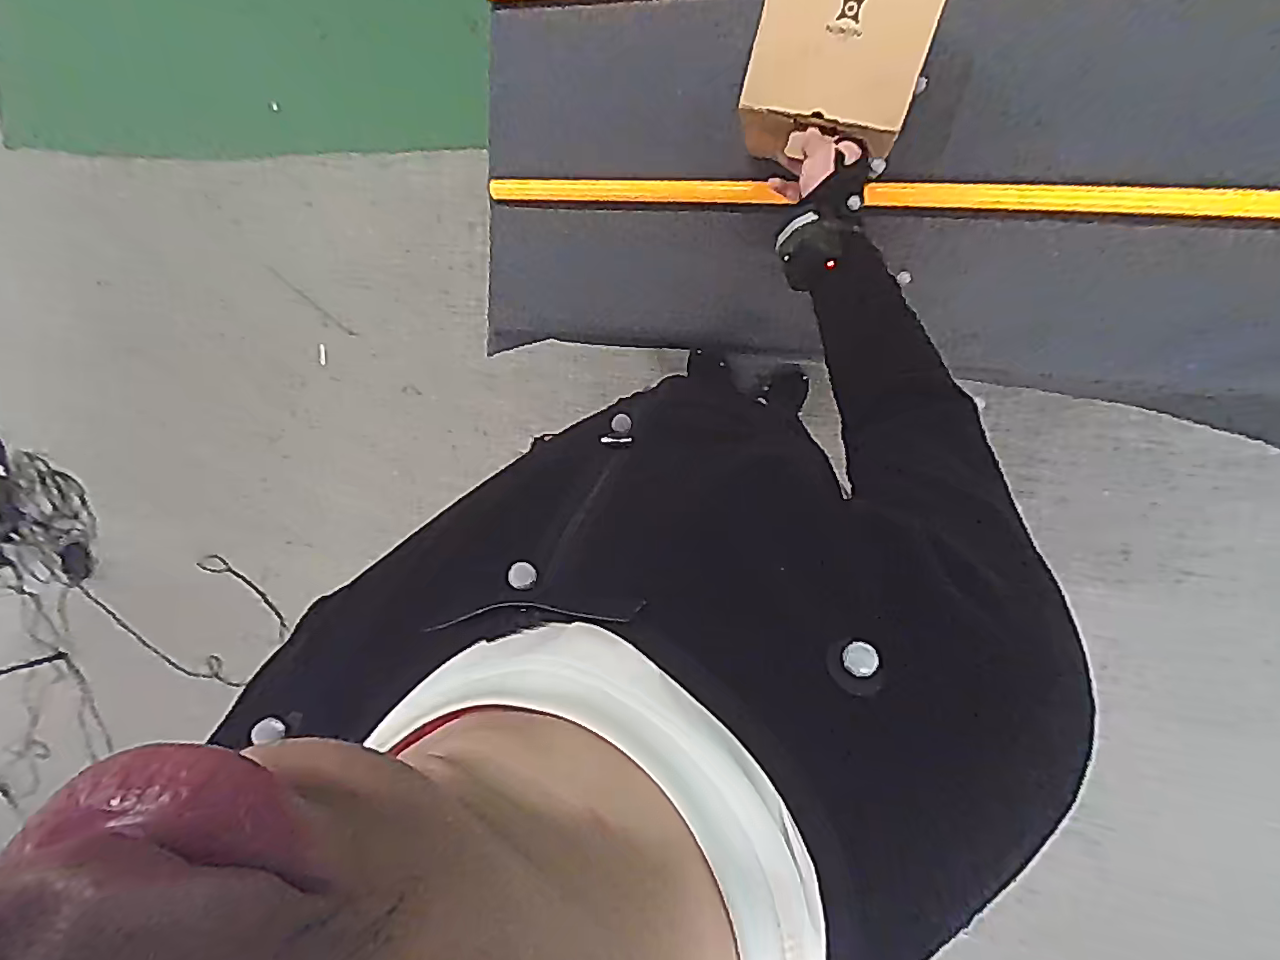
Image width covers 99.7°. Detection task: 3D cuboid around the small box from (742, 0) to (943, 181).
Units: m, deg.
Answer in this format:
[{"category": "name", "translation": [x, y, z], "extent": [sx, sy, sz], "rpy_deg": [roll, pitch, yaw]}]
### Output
[{"category": "small box", "translation": [0.225, -0.458, 0.605], "extent": [0.168, 0.176, 0.179], "rpy_deg": [16, 106, 13]}]
